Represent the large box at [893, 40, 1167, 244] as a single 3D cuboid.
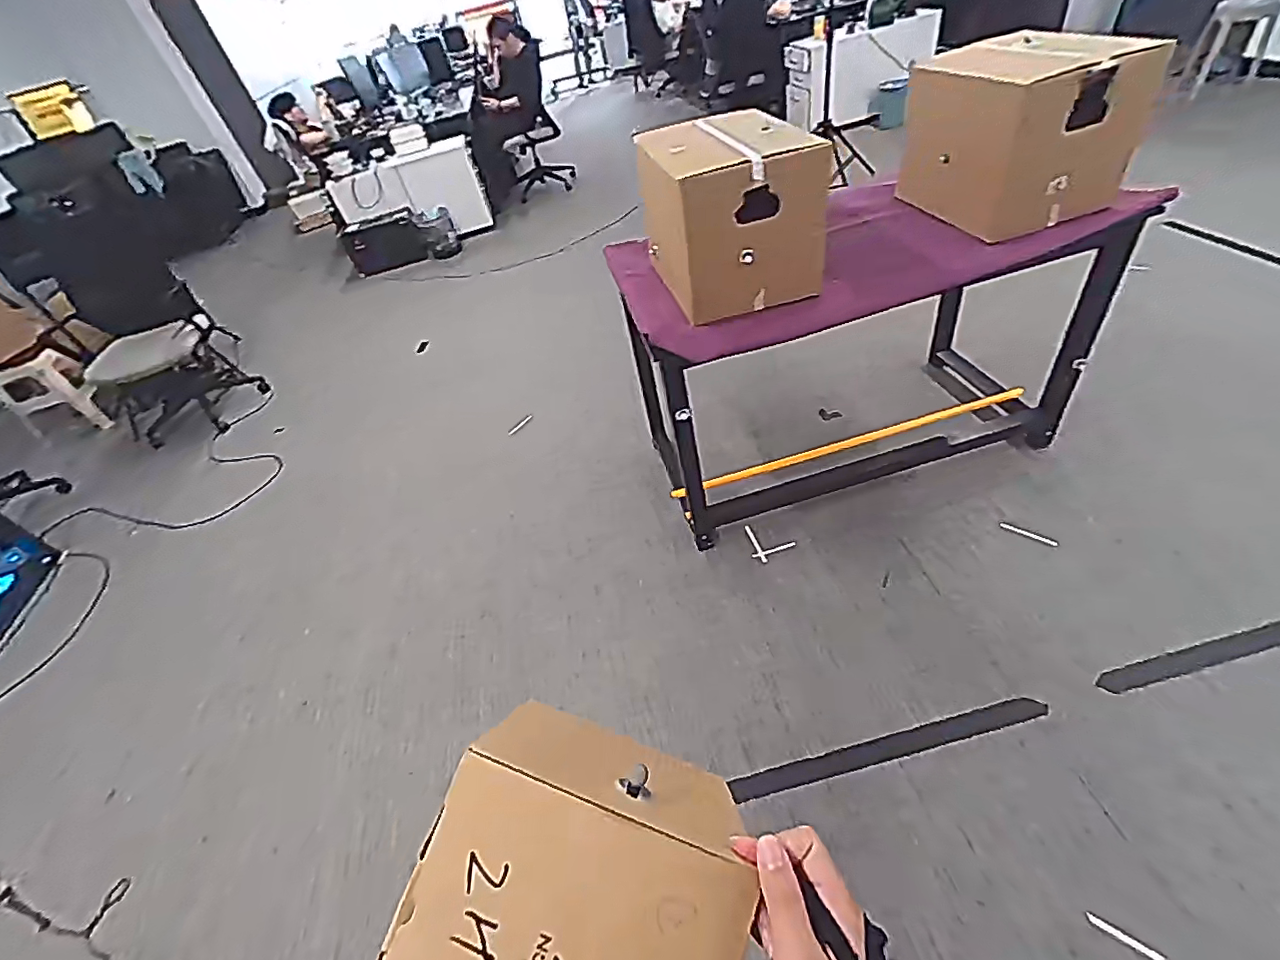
[{"bbox_3d":[0.866,-0.808,1.284,0.320,0.320,0.408,-17,42,-2],"label":"large box"}]
